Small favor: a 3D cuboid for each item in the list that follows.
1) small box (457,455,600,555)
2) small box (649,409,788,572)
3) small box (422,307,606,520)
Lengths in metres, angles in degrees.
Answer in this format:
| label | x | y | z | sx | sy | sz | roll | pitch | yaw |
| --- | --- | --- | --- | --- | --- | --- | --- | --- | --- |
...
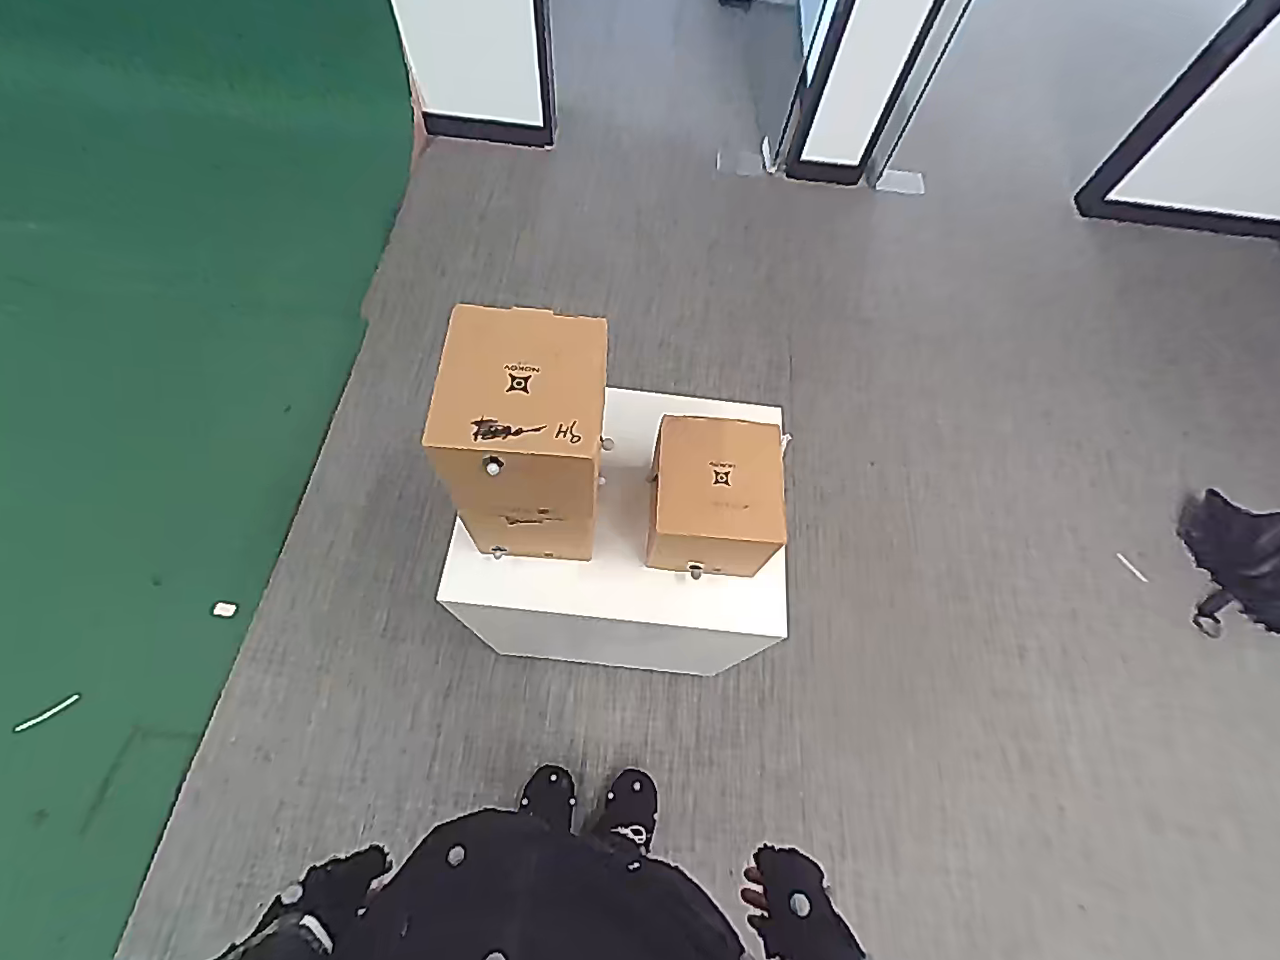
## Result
| label | x | y | z | sx | sy | sz | roll | pitch | yaw |
| --- | --- | --- | --- | --- | --- | --- | --- | --- | --- |
| small box | -0.145 | 0.000 | 0.771 | 0.168 | 0.176 | 0.179 | 4 | 64 | -3 |
| small box | 0.100 | 0.021 | 0.765 | 0.168 | 0.176 | 0.179 | 3 | 66 | -1 |
| small box | -0.129 | -0.070 | 0.625 | 0.168 | 0.176 | 0.179 | 4 | 64 | -3 |
